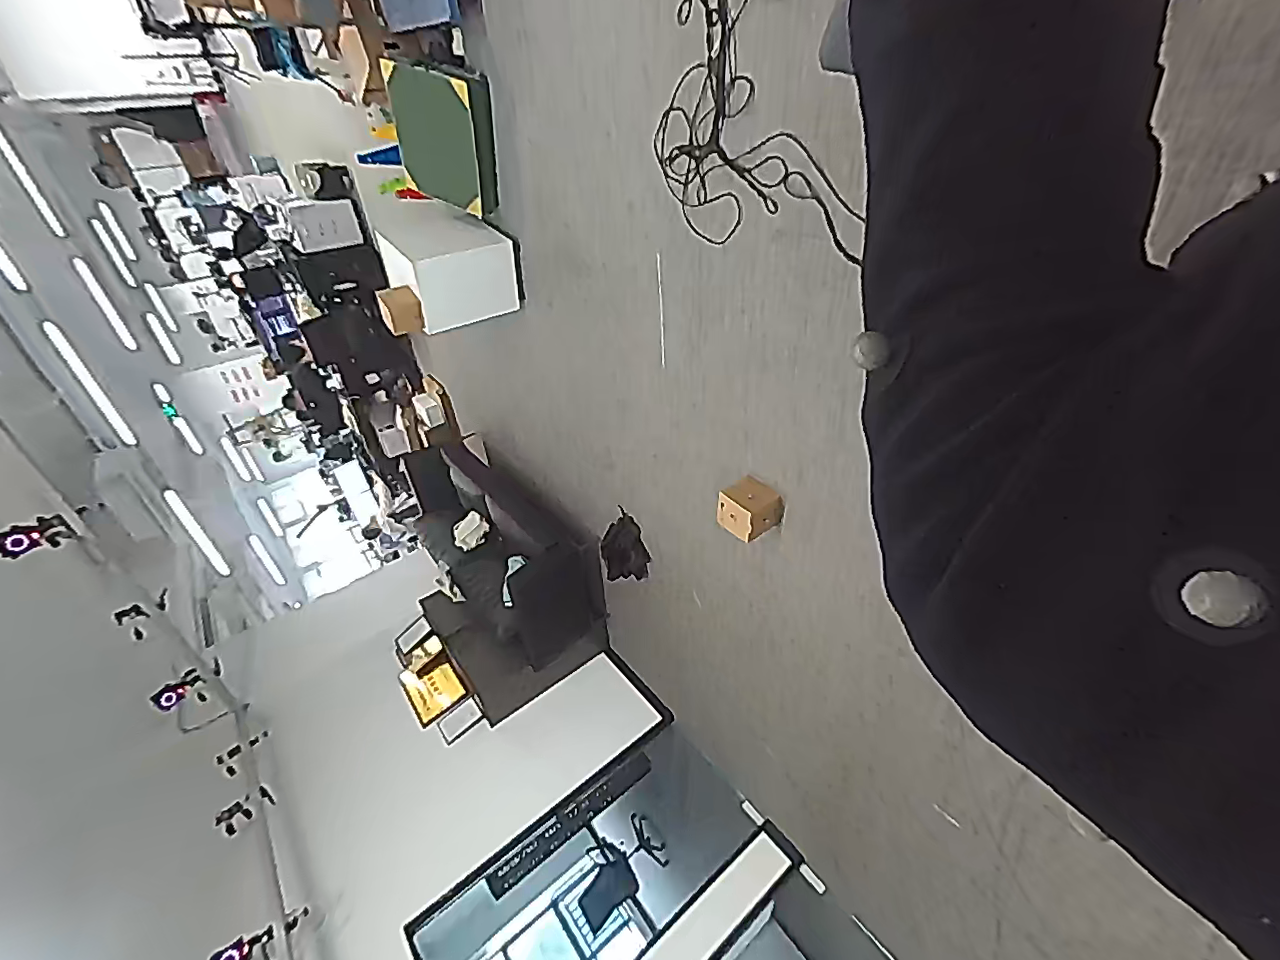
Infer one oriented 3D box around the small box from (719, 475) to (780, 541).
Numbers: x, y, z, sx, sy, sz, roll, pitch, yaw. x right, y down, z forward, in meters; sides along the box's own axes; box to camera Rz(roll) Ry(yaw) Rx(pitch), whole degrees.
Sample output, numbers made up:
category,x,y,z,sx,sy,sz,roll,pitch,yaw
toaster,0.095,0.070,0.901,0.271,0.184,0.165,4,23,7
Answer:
category,x,y,z,sx,sy,sz,roll,pitch,yaw
small box,0.440,0.105,2.173,0.179,0.176,0.168,37,142,38
